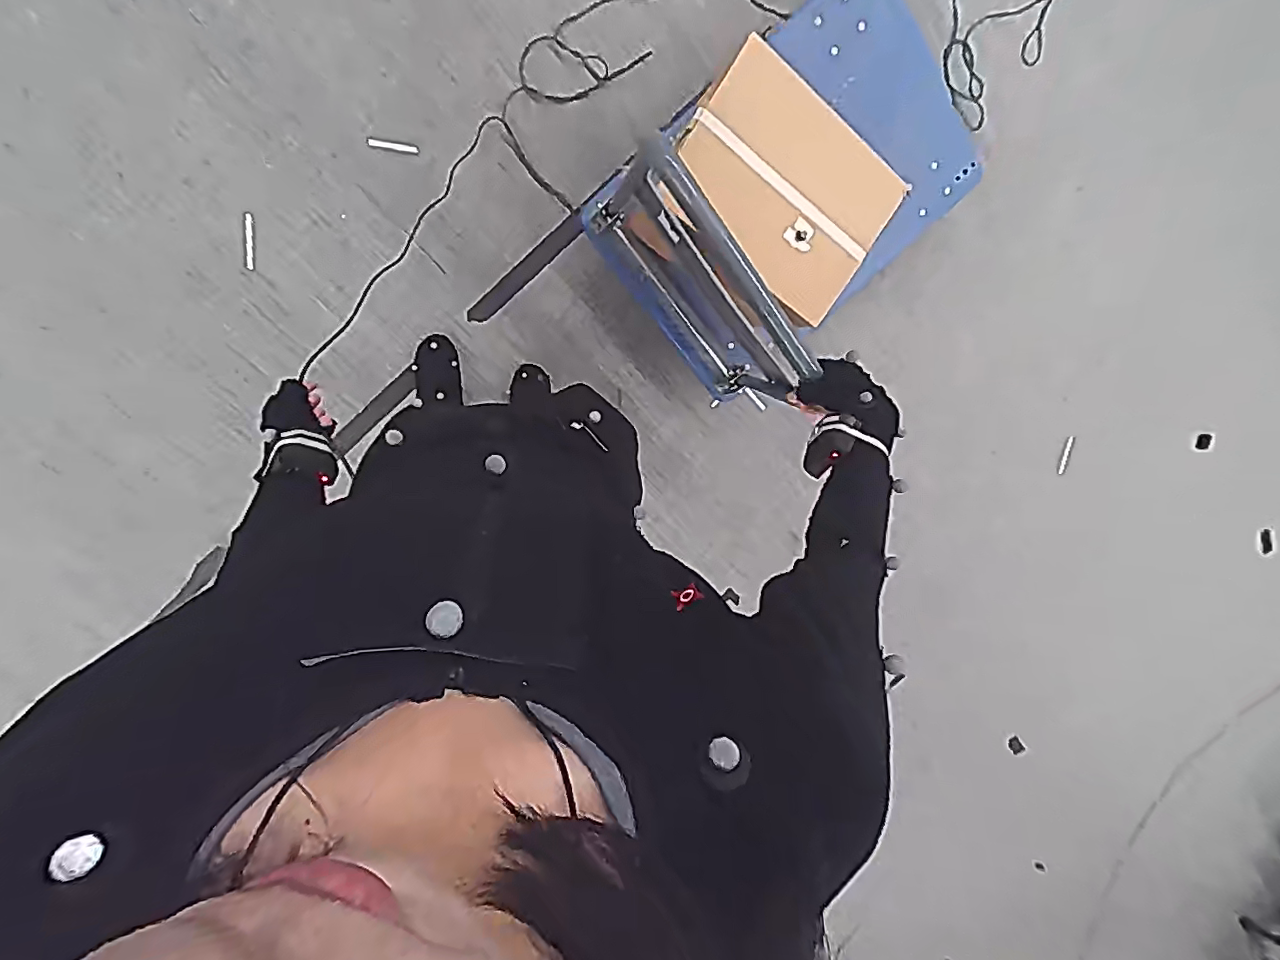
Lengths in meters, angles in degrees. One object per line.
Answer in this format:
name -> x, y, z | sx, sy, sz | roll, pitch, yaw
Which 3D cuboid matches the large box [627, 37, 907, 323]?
large box -> 0.238, -0.571, 1.128 | 0.408, 0.320, 0.320 | 31, 98, -18
